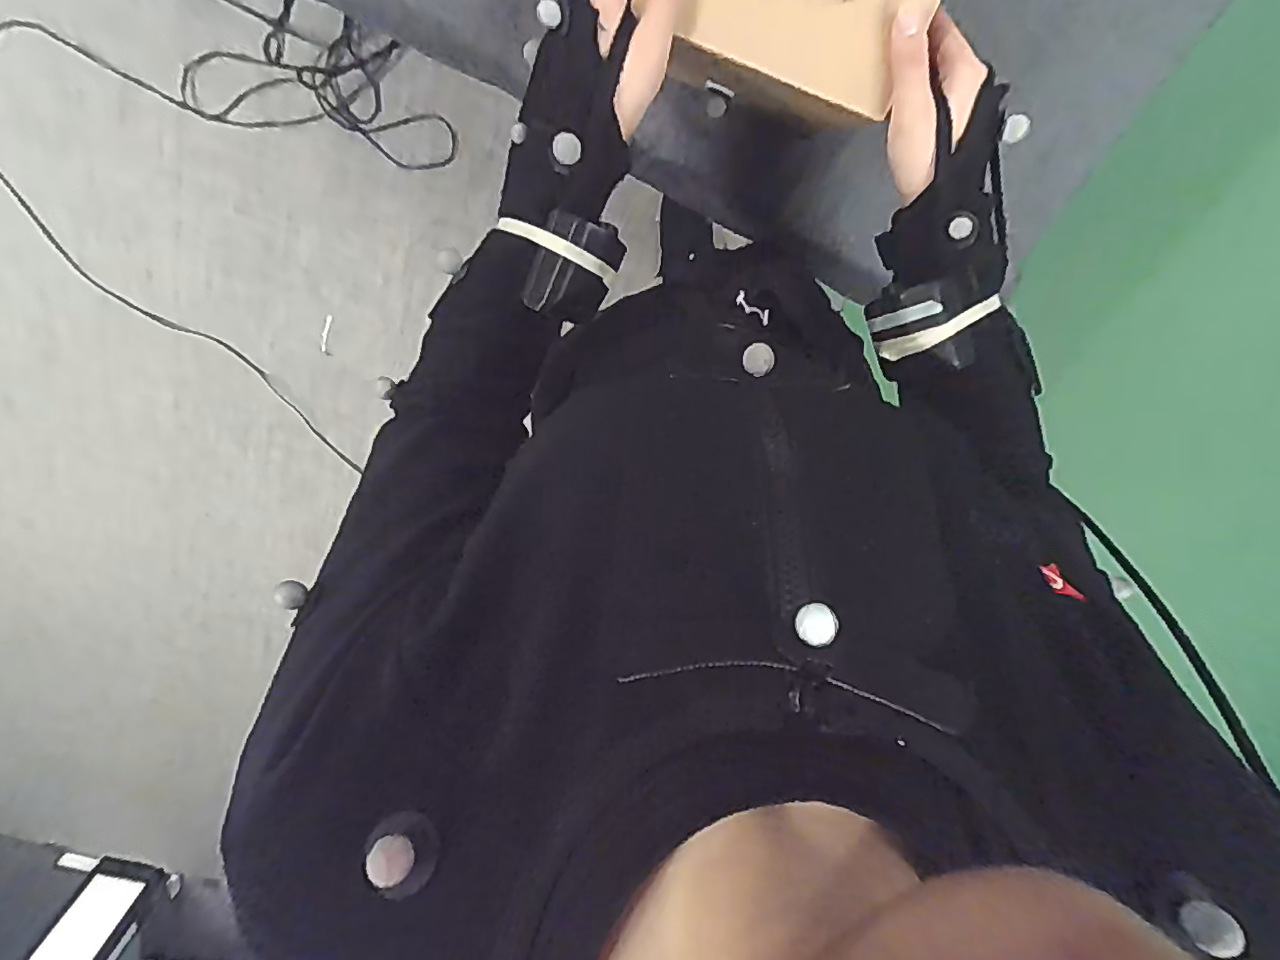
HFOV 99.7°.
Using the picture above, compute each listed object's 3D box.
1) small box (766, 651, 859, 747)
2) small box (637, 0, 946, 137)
[{"bbox_3d":[0.478,0.615,1.535,0.179,0.176,0.168,20,118,-10],"label":"small box"},{"bbox_3d":[0.102,-0.348,0.347,0.168,0.176,0.179,17,120,-6],"label":"small box"}]
